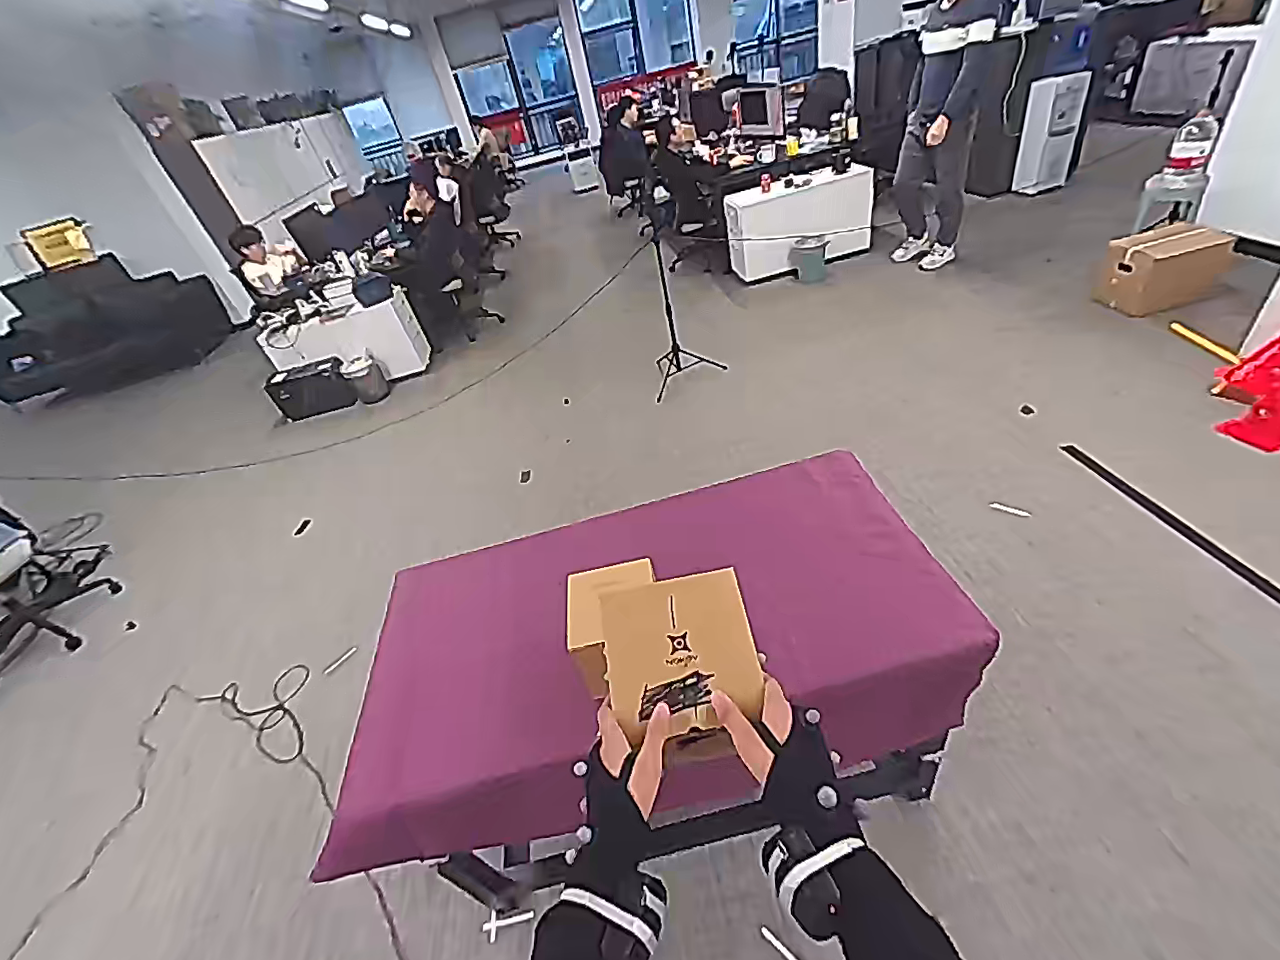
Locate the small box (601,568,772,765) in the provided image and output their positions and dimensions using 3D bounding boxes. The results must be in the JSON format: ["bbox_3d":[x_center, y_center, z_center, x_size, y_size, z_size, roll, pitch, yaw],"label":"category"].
[{"bbox_3d":[0.054,0.234,0.657,0.168,0.176,0.179,-11,53,1],"label":"small box"}]

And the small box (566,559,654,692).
[{"bbox_3d":[-0.037,0.284,1.034,0.168,0.176,0.179,-12,37,3],"label":"small box"}]
